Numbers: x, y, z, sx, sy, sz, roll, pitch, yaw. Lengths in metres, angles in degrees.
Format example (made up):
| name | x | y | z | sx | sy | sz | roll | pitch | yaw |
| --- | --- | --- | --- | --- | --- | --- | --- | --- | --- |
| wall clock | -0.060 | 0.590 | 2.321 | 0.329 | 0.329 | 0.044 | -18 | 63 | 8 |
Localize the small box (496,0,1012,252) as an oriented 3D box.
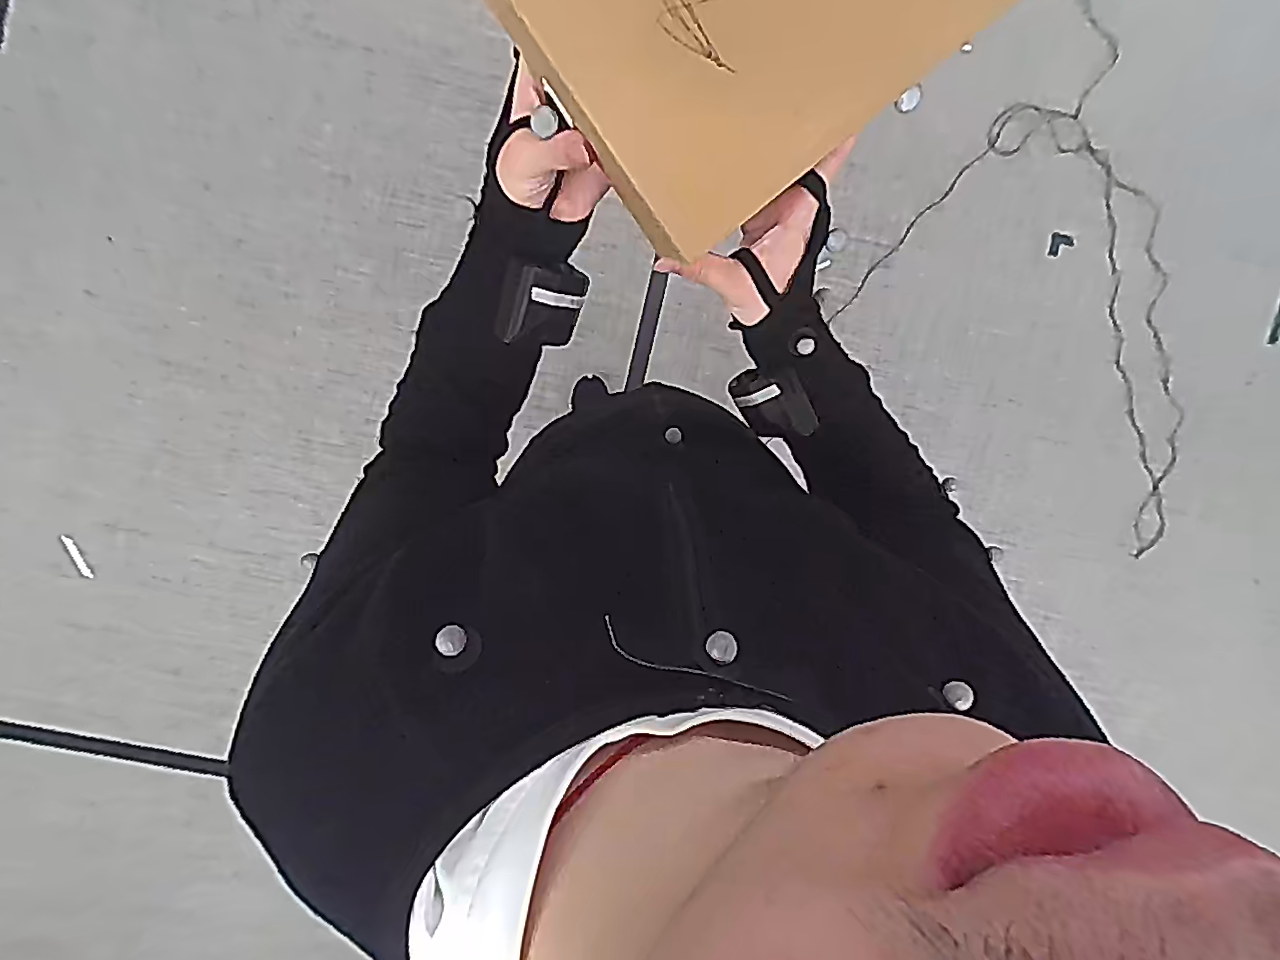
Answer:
| name | x | y | z | sx | sy | sz | roll | pitch | yaw |
| --- | --- | --- | --- | --- | --- | --- | --- | --- | --- |
| small box | 0.037 | -0.231 | 0.246 | 0.179 | 0.176 | 0.168 | -36 | 110 | 13 |
